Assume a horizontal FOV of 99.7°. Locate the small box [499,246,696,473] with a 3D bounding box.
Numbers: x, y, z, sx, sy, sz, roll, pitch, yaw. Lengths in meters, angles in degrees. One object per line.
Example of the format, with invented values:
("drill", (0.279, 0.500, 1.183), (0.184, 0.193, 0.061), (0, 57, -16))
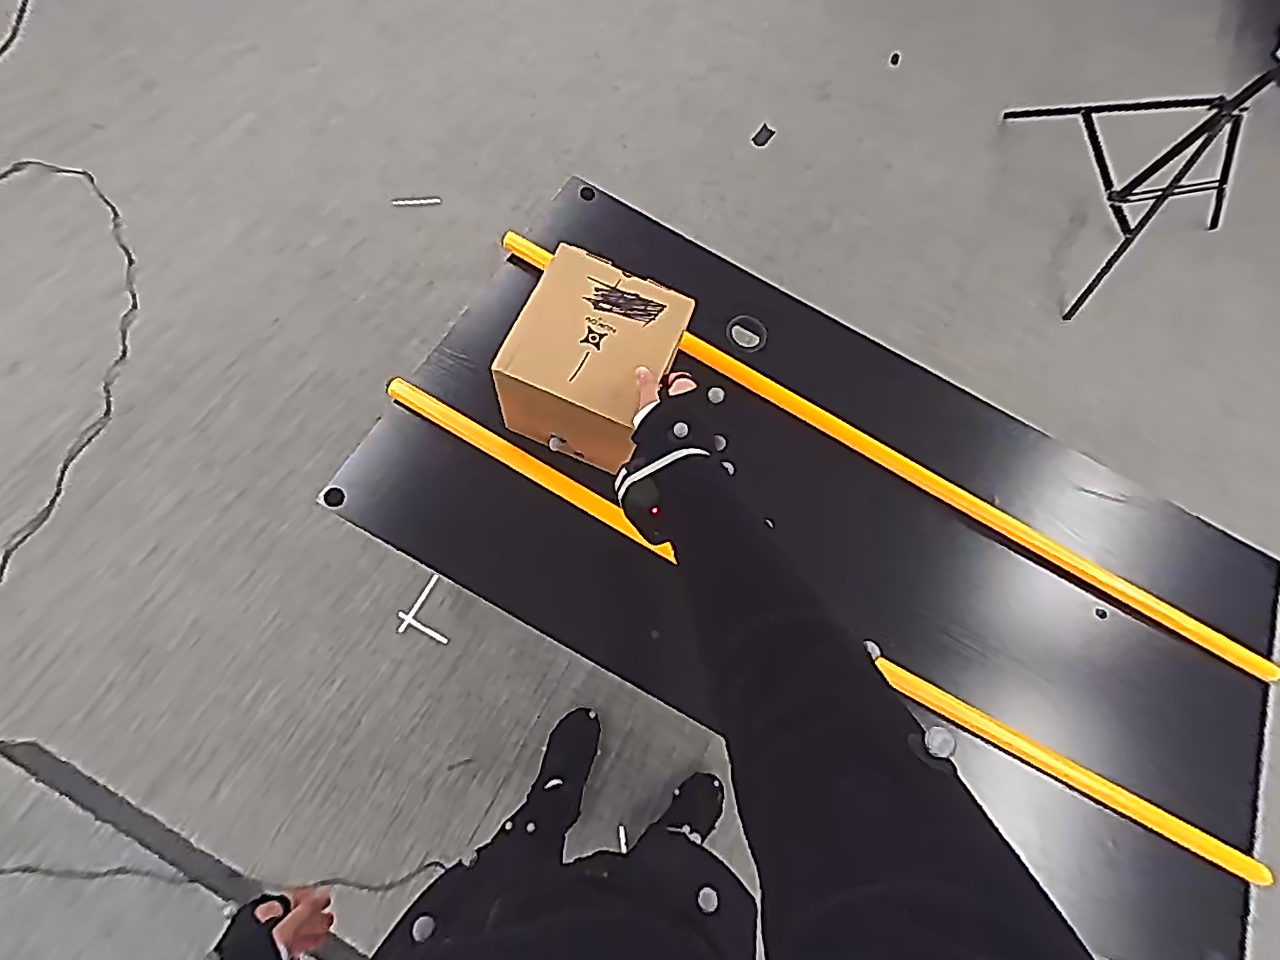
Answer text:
("small box", (-0.052, -0.134, 0.657), (0.168, 0.176, 0.179), (23, 72, 0))
